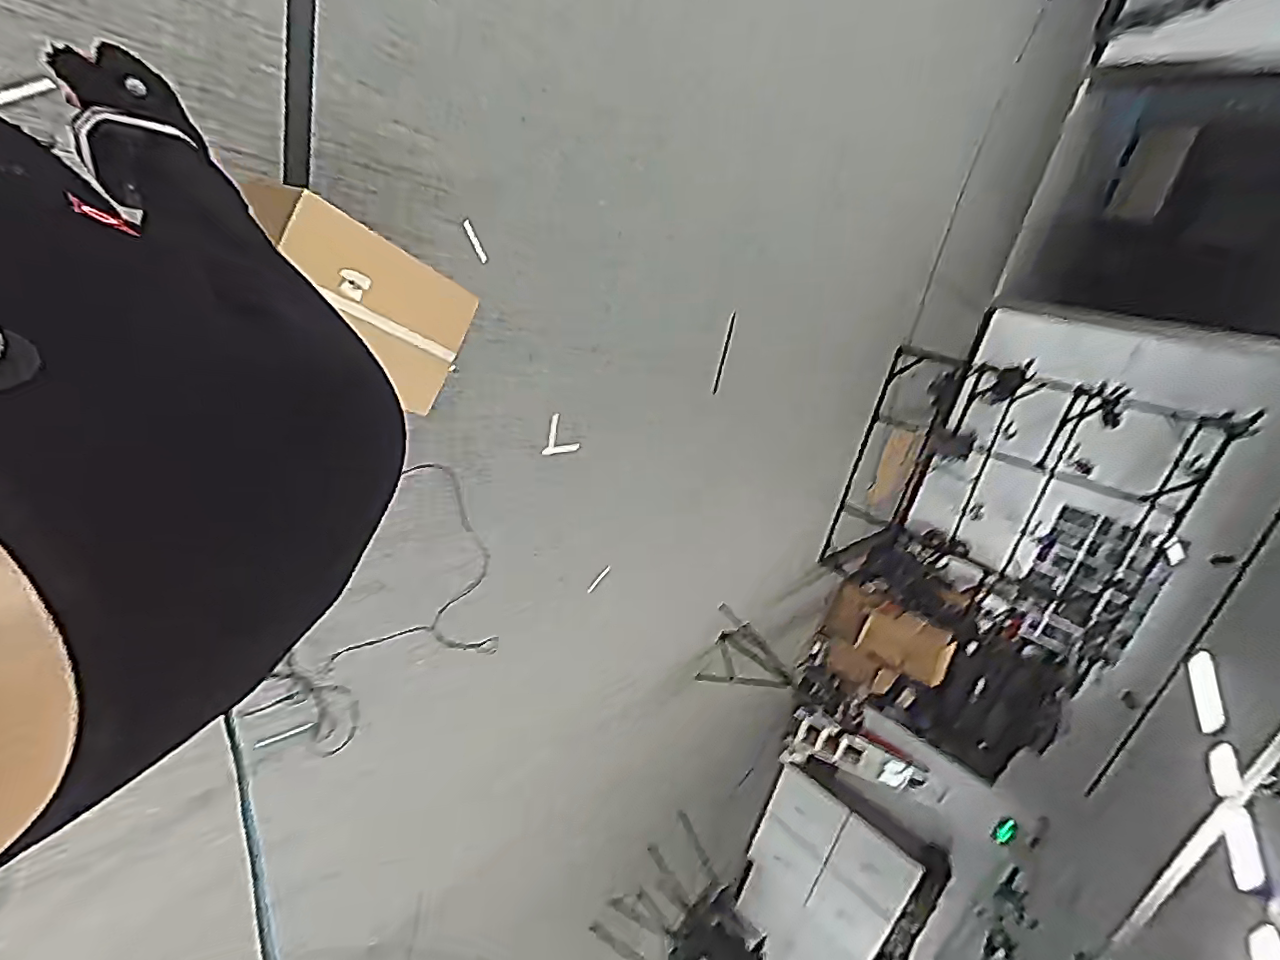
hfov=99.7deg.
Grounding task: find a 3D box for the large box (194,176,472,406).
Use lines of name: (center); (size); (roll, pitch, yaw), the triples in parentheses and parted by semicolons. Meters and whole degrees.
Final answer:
large box: (-0.674, -0.407, 1.214); (0.408, 0.320, 0.320); (21, 95, -54)
